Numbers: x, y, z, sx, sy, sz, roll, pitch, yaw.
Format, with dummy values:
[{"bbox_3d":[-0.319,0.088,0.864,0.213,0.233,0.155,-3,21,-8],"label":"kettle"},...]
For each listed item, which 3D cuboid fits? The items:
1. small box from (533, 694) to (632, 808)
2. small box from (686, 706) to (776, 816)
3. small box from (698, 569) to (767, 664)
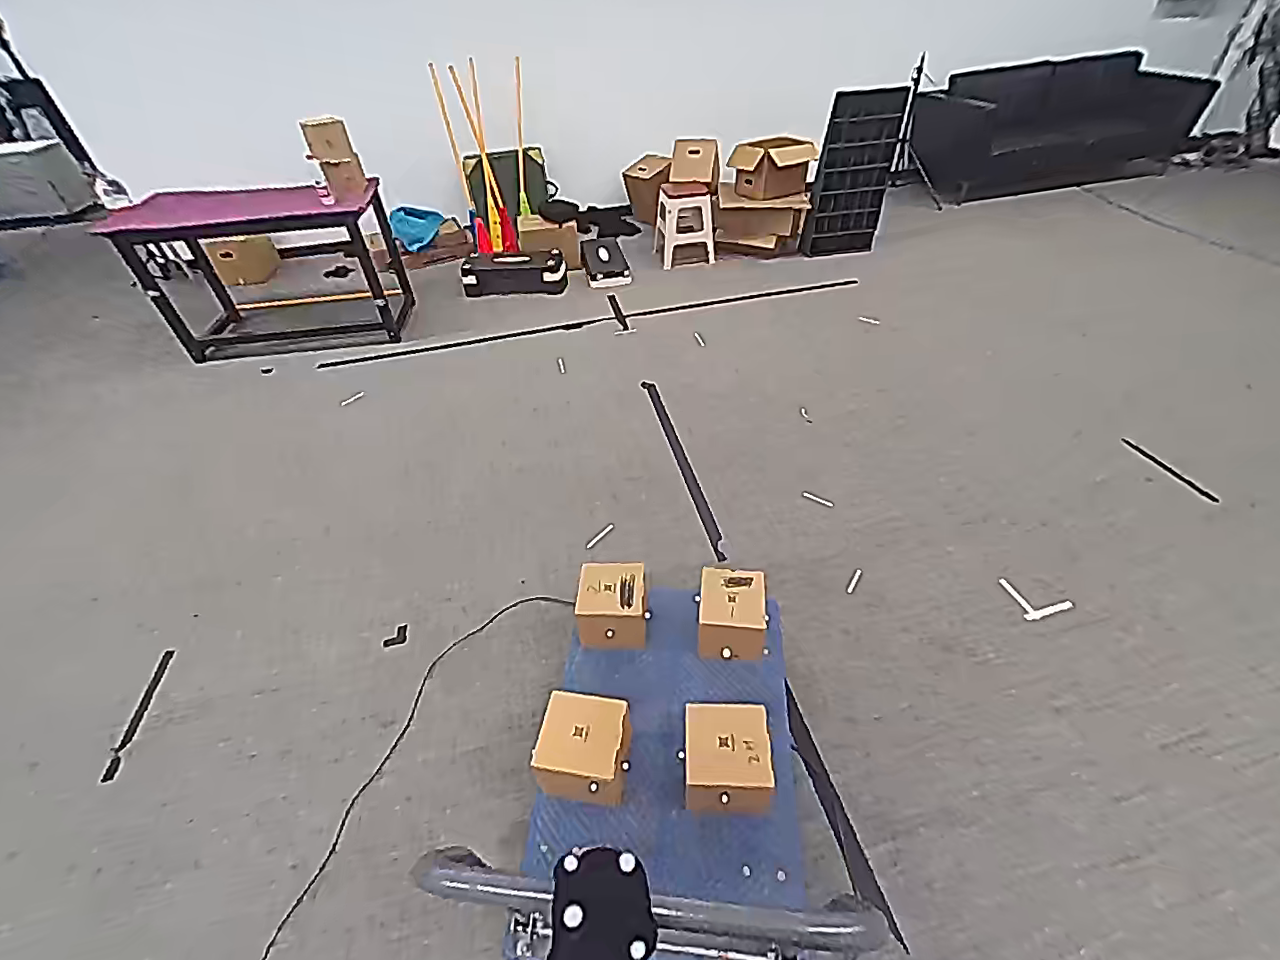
[{"bbox_3d":[-0.119,0.604,1.201,0.179,0.176,0.168,5,42,7],"label":"small box"},{"bbox_3d":[0.190,0.610,1.171,0.179,0.176,0.168,0,42,4],"label":"small box"},{"bbox_3d":[0.243,0.363,1.438,0.168,0.176,0.179,3,44,7],"label":"small box"}]
